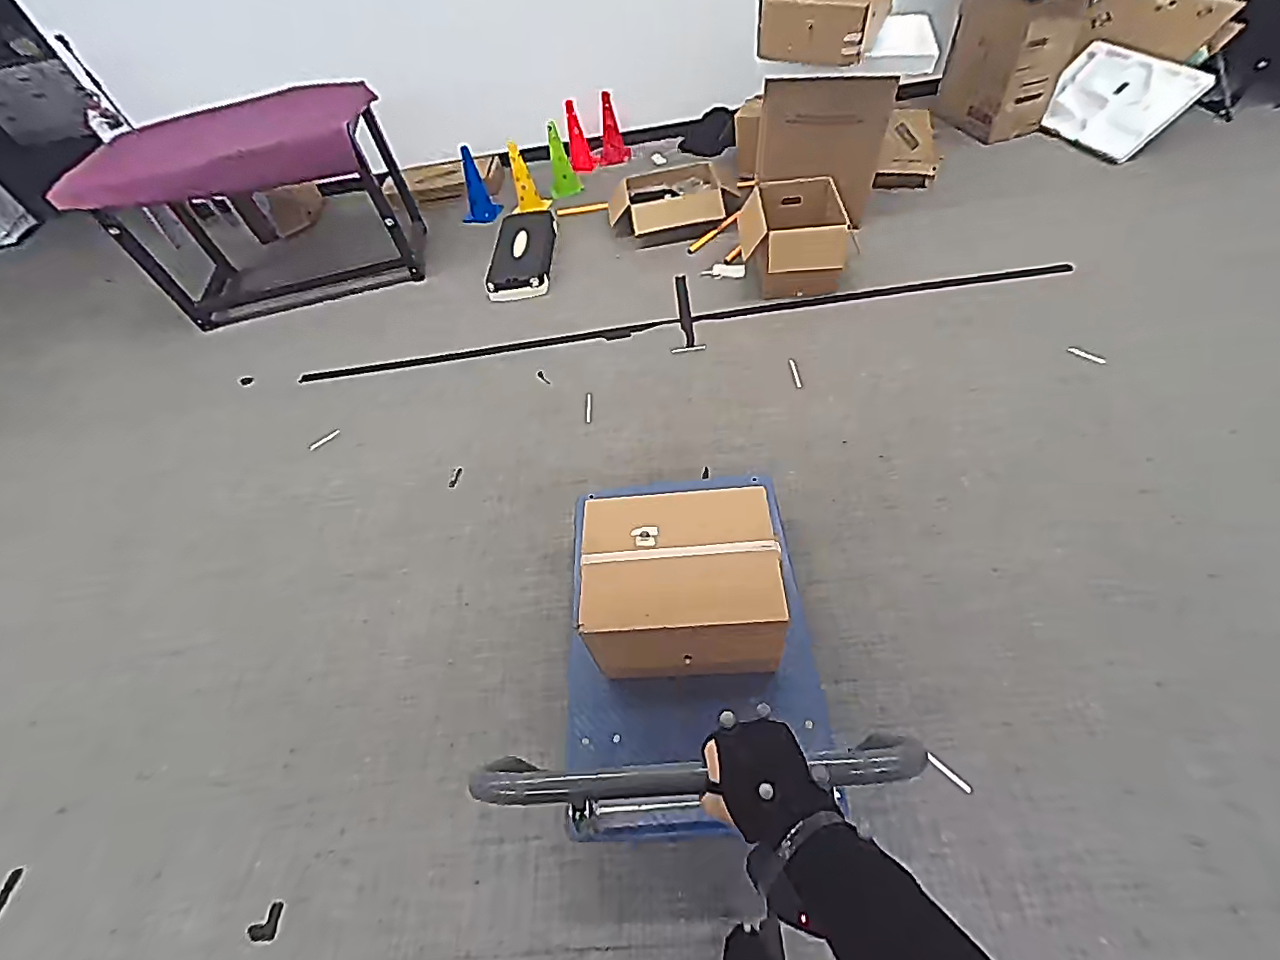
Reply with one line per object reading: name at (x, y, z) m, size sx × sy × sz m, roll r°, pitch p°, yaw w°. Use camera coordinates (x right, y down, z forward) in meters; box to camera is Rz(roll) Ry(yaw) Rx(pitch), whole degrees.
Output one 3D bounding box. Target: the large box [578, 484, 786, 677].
large box at (0.094, 0.239, 1.227) m, size 0.408 × 0.320 × 0.320 m, roll -6°, pitch 52°, yaw 6°
